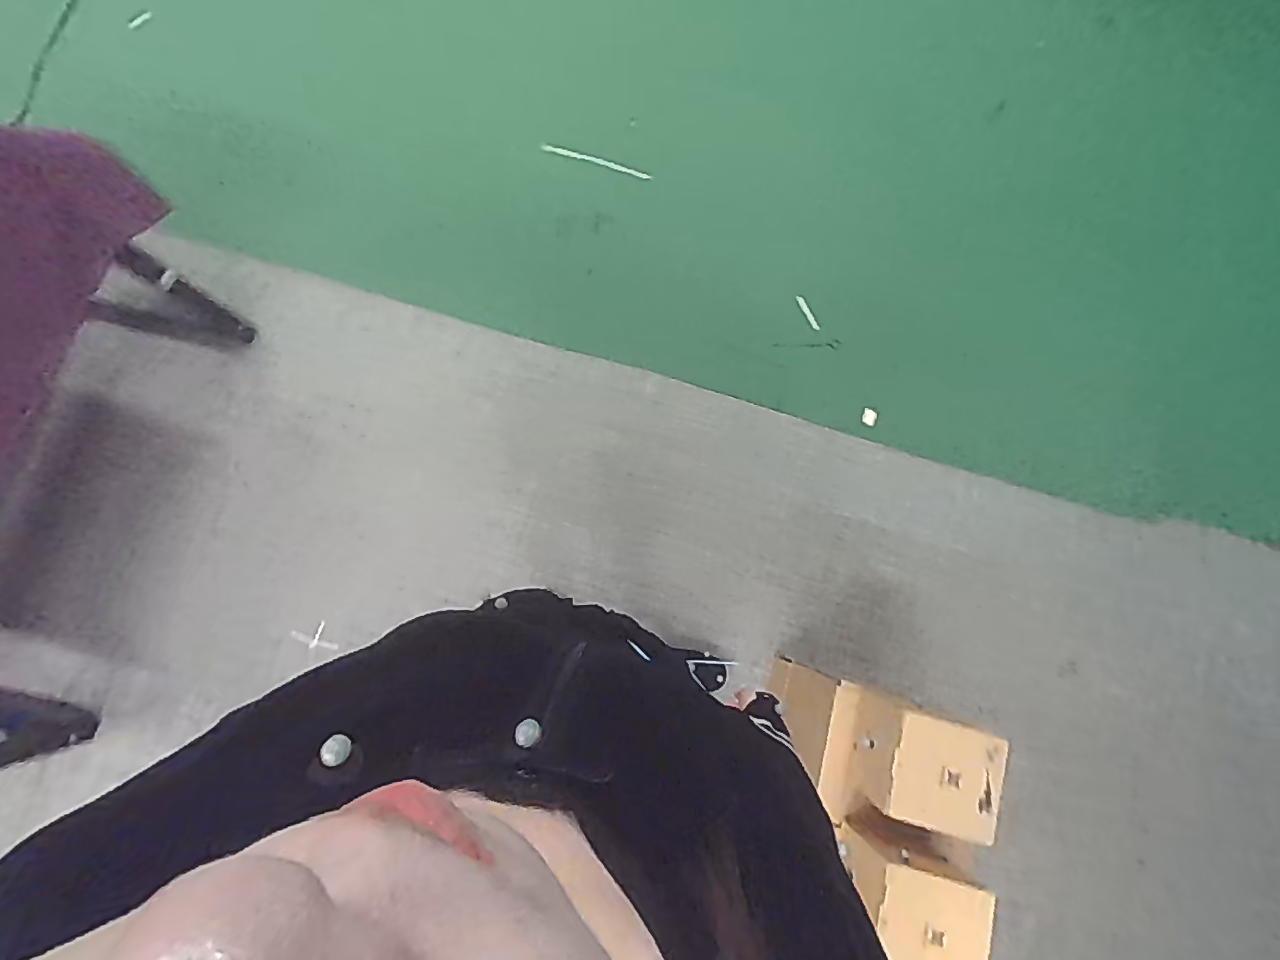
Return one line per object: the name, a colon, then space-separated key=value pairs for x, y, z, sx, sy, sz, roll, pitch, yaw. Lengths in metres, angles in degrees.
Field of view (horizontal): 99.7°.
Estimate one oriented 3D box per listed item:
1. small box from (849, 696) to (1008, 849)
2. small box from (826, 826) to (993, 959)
small box: x=0.491 y=0.494 z=0.946 sx=0.179 sy=0.176 sz=0.168 roll=17 pitch=81 yaw=3
small box: x=0.439 y=0.716 z=0.903 sx=0.179 sy=0.176 sz=0.168 roll=17 pitch=78 yaw=1
